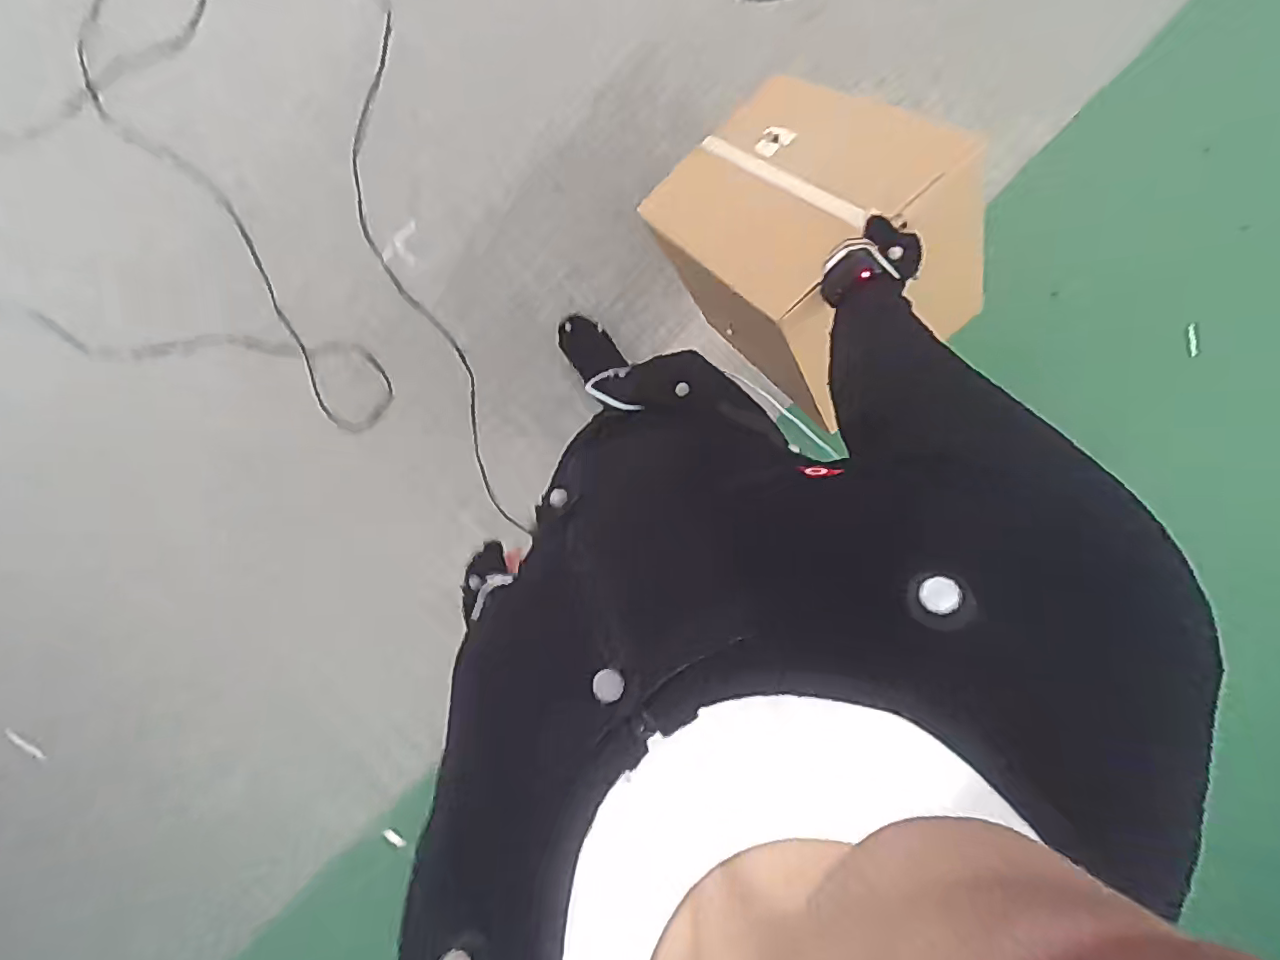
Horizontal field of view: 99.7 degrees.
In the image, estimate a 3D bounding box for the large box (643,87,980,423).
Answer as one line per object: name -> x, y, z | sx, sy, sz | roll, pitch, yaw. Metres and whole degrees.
large box -> 0.280, -0.370, 0.909 | 0.320, 0.408, 0.320 | -41, 140, 8
